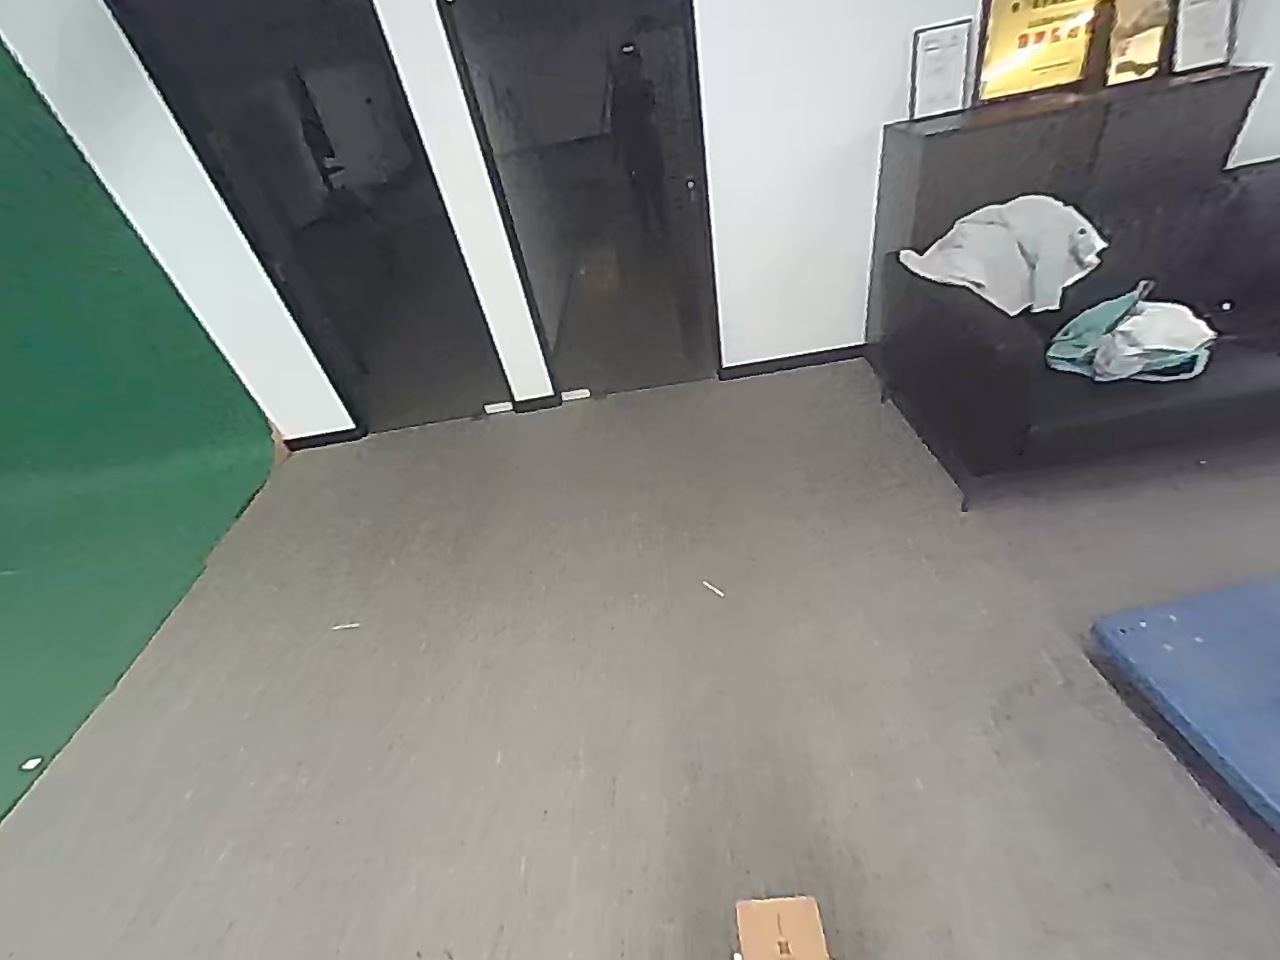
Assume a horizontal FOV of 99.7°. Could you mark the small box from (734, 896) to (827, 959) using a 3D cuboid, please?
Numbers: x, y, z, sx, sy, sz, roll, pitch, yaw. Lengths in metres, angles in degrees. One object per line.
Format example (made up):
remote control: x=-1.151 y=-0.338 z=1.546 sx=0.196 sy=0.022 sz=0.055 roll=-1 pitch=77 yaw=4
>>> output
small box: x=0.285 y=0.963 z=1.079 sx=0.168 sy=0.176 sz=0.179 roll=-7 pitch=38 yaw=6
